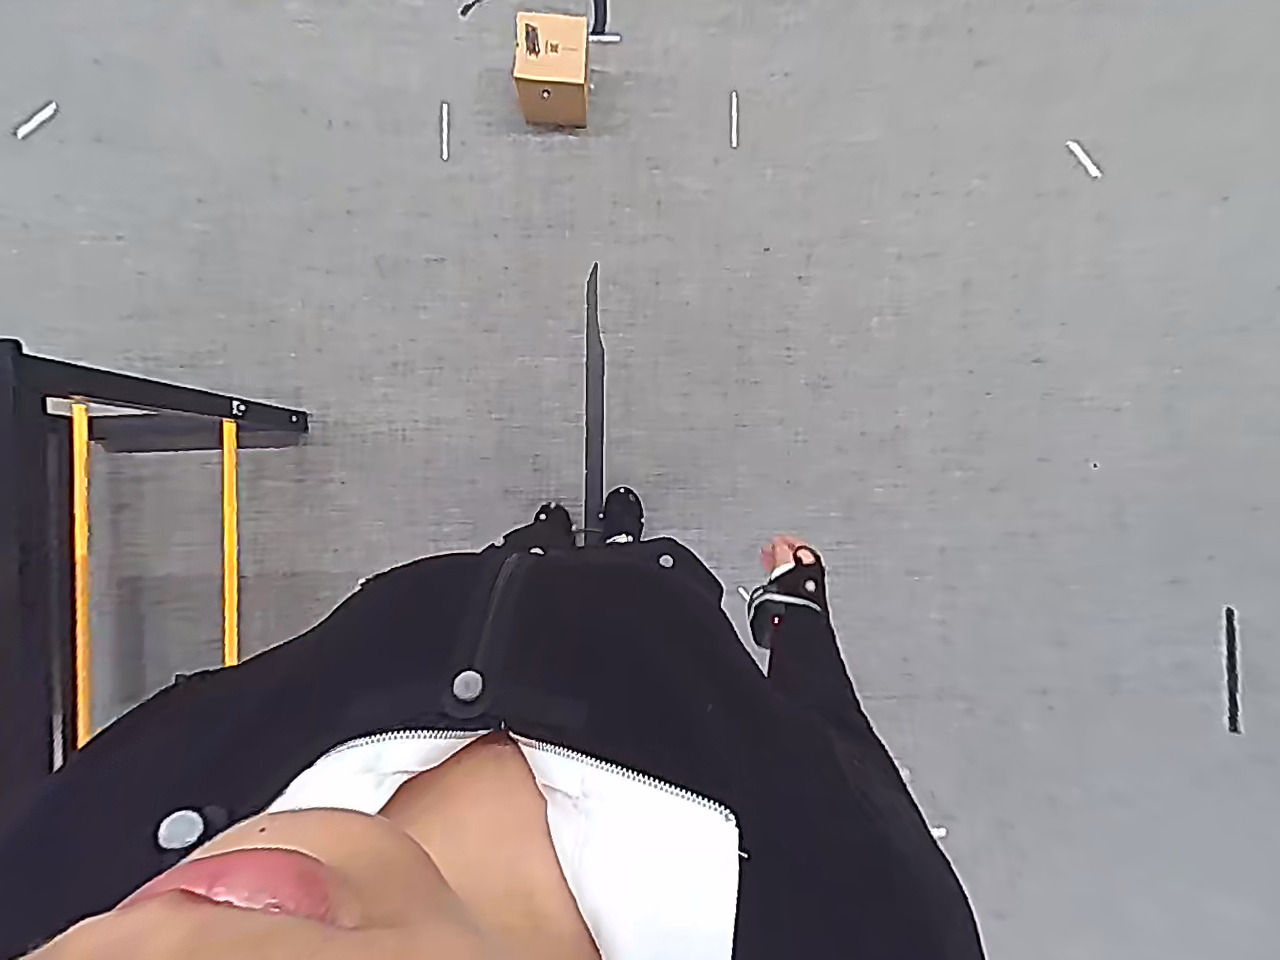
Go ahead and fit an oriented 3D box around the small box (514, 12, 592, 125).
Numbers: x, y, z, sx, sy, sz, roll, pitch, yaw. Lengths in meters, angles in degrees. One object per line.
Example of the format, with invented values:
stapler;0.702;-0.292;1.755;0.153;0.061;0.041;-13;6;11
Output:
small box;-0.221;-1.063;1.409;0.179;0.176;0.168;3;90;-3
